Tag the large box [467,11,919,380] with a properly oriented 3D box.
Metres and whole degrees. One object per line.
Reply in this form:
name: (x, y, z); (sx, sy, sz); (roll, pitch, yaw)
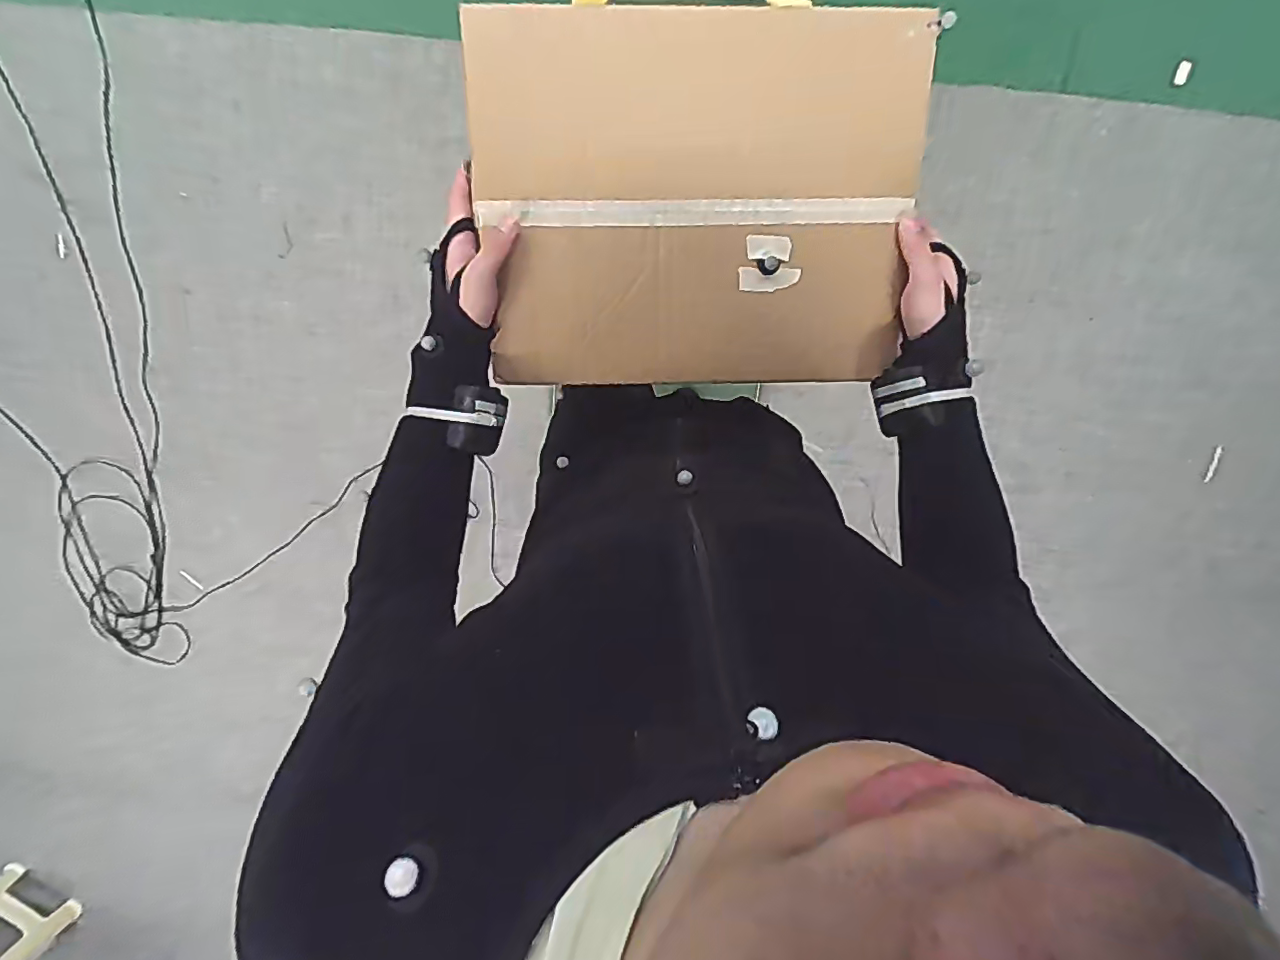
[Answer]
large box: (0.044, -0.300, 0.653); (0.408, 0.320, 0.320); (-2, 108, -2)
